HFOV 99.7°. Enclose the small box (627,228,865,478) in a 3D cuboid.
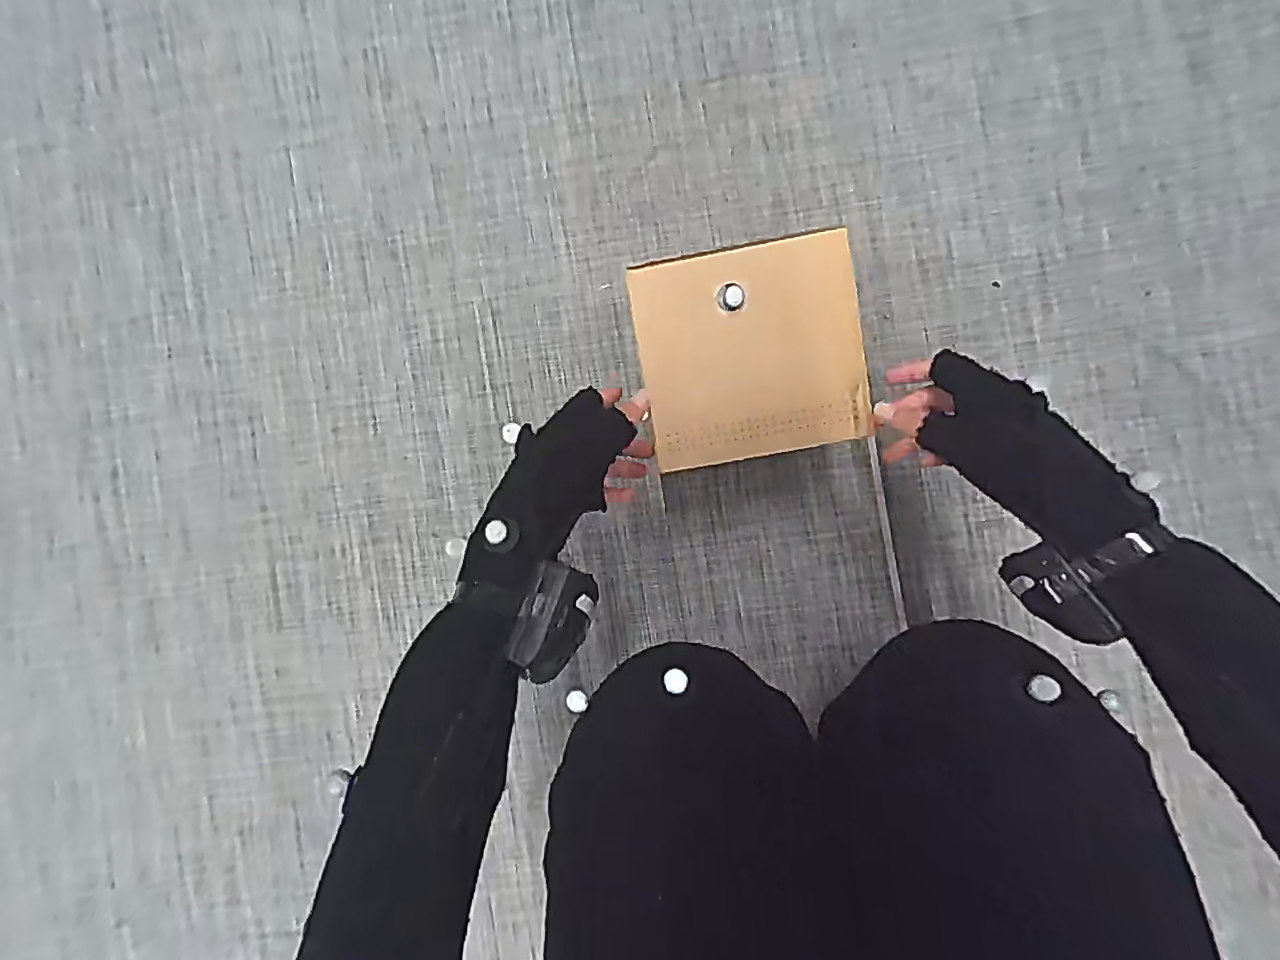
[{"bbox_3d":[0.092,-0.104,0.498,0.179,0.168,0.176,-10,95,3],"label":"small box"}]
